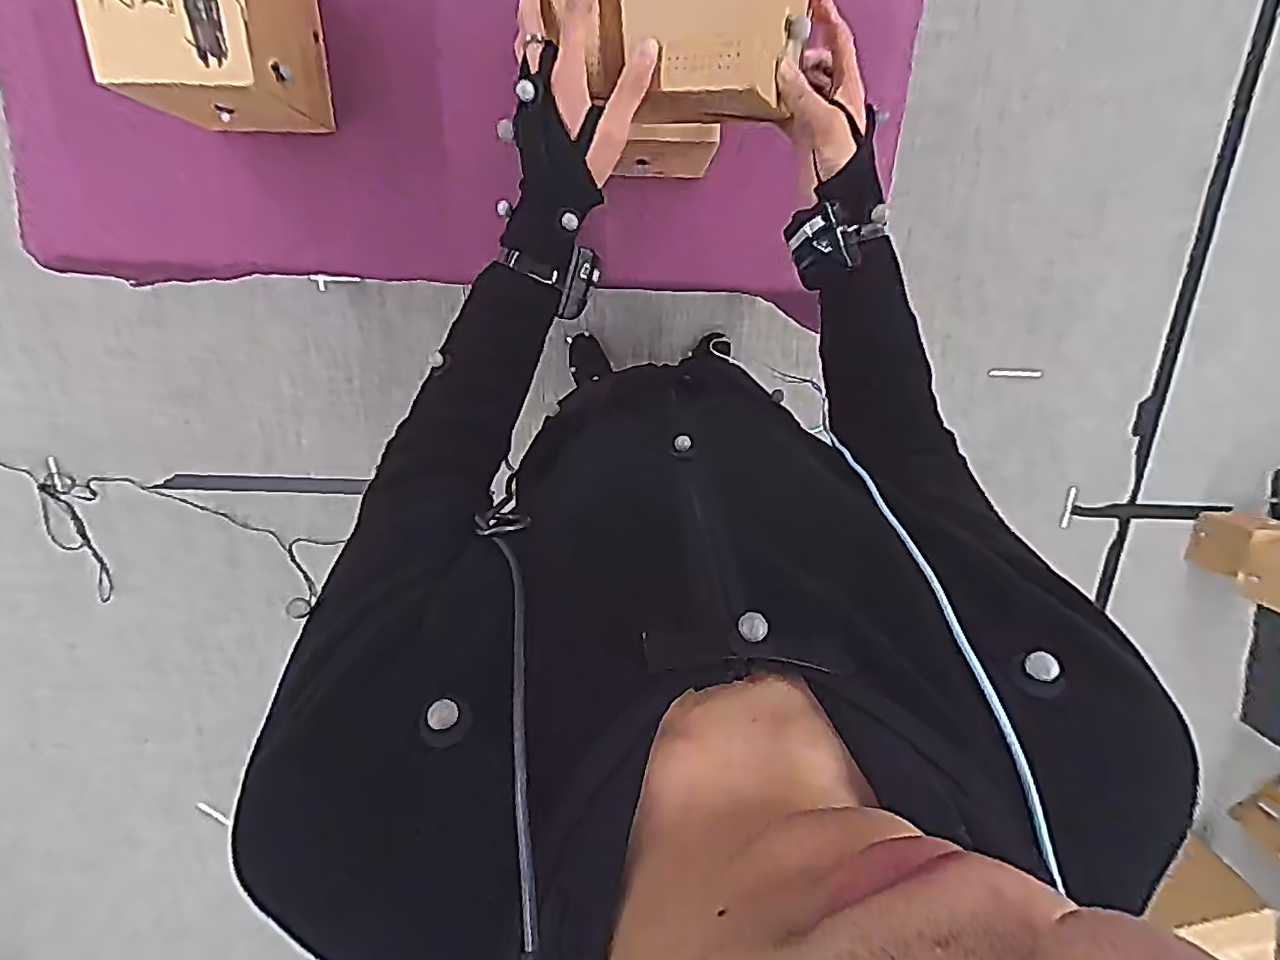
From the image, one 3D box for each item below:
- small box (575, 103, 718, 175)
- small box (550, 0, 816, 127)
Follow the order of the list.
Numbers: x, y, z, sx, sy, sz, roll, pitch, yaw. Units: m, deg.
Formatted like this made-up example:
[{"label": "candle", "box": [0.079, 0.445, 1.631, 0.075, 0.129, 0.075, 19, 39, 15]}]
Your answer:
[{"label": "small box", "box": [0.010, -0.492, 0.667, 0.168, 0.176, 0.179, 1, 107, -2]}, {"label": "small box", "box": [0.038, -0.395, 0.433, 0.179, 0.168, 0.176, 15, 120, 22]}]
